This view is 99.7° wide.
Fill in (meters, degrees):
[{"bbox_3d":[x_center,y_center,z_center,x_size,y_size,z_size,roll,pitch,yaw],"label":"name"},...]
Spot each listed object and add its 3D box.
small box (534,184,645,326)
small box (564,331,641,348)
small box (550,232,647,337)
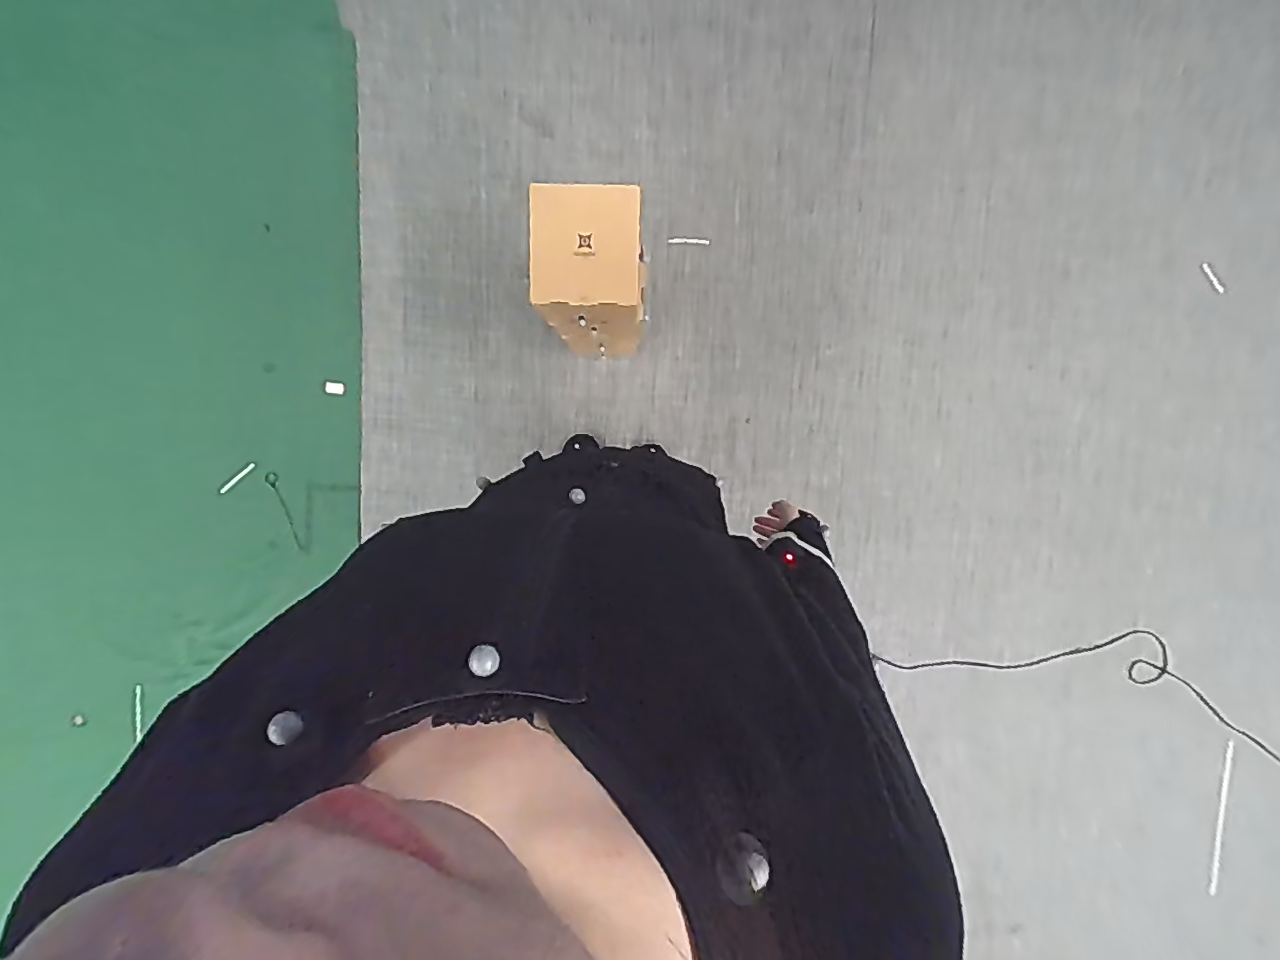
[{"bbox_3d":[-0.078,-0.363,0.896,0.168,0.176,0.179,2,97,0],"label":"small box"},{"bbox_3d":[-0.083,-0.400,1.221,0.168,0.176,0.179,-2,96,1],"label":"small box"},{"bbox_3d":[-0.076,-0.379,1.058,0.179,0.176,0.168,0,96,1],"label":"small box"}]
